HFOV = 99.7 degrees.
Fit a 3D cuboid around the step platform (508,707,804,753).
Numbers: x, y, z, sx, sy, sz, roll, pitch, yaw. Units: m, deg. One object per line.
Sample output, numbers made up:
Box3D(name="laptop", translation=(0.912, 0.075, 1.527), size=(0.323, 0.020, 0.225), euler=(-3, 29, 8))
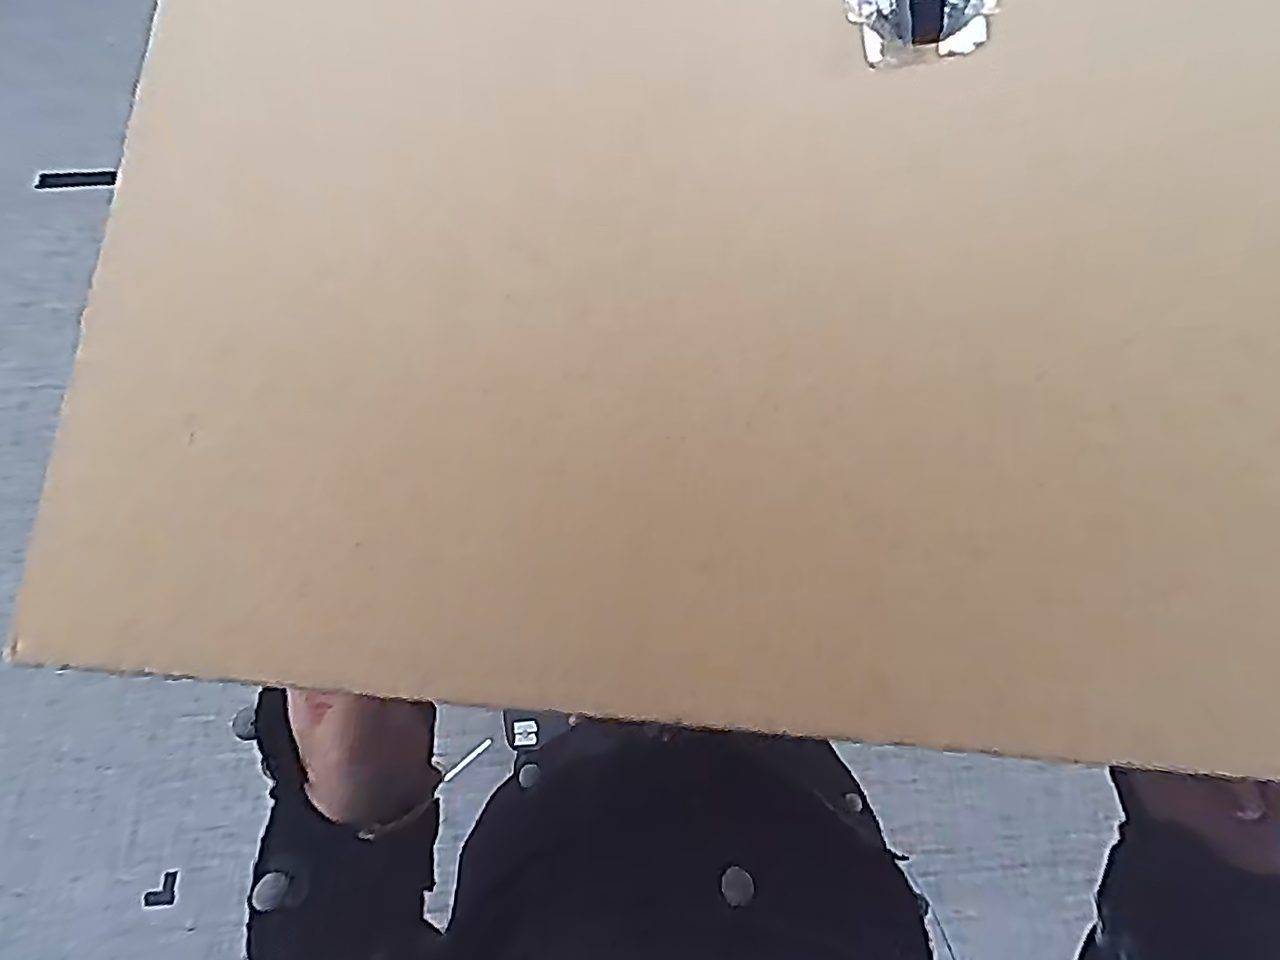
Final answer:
Box3D(name="step platform", translation=(0.039, 0.460, 1.273), size=(0.684, 0.204, 0.286), euler=(3, 79, -1))
